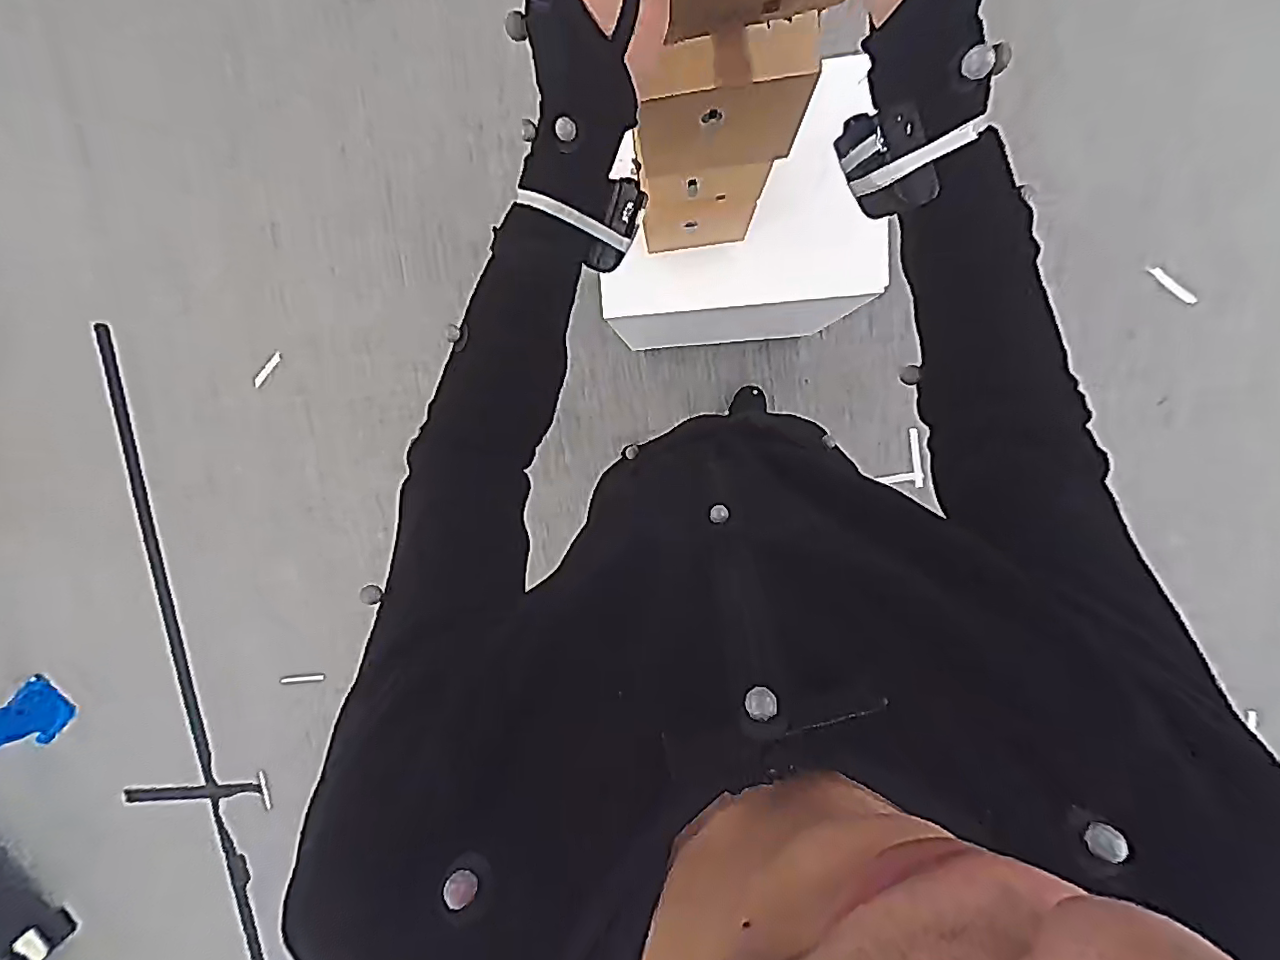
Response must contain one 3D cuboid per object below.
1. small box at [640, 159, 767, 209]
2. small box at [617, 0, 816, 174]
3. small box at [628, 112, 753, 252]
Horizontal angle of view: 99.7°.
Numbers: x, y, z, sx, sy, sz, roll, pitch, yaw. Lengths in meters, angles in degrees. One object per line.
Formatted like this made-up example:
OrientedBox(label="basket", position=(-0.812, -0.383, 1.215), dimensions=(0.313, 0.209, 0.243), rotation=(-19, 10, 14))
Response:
OrientedBox(label="small box", position=(0.081, -0.483, 0.725), dimensions=(0.168, 0.176, 0.179), rotation=(-5, 96, 4))
OrientedBox(label="small box", position=(0.072, -0.445, 0.564), dimensions=(0.179, 0.176, 0.168), rotation=(-5, 97, 5))
OrientedBox(label="small box", position=(0.082, -0.489, 0.888), dimensions=(0.179, 0.176, 0.168), rotation=(-6, 97, 4))
